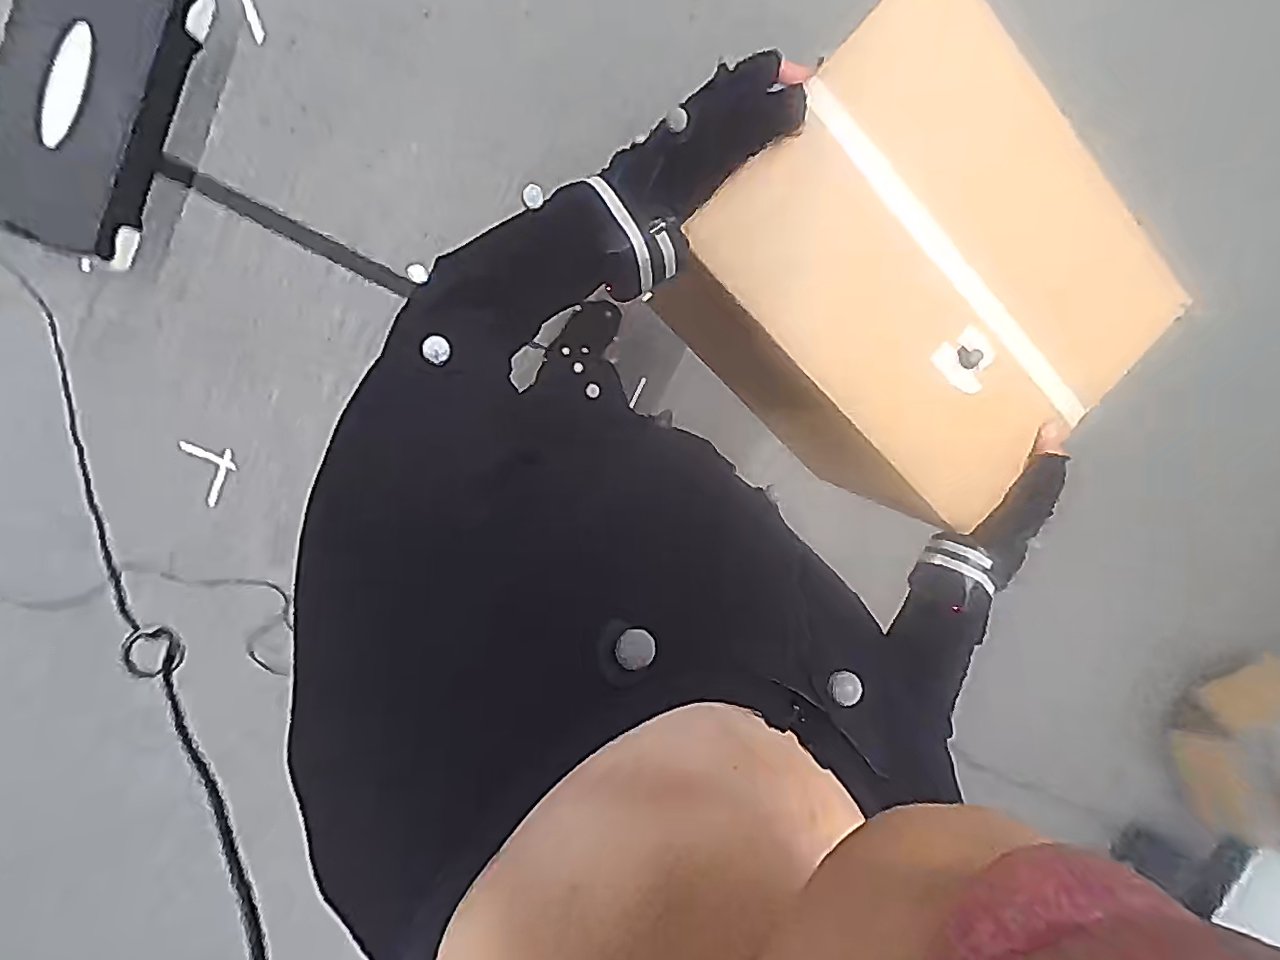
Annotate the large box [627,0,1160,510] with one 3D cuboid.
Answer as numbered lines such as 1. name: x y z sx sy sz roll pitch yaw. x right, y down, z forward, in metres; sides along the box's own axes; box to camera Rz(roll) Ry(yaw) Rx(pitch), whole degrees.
1. large box: 0.244 -0.232 0.636 0.408 0.320 0.320 41 94 -13
